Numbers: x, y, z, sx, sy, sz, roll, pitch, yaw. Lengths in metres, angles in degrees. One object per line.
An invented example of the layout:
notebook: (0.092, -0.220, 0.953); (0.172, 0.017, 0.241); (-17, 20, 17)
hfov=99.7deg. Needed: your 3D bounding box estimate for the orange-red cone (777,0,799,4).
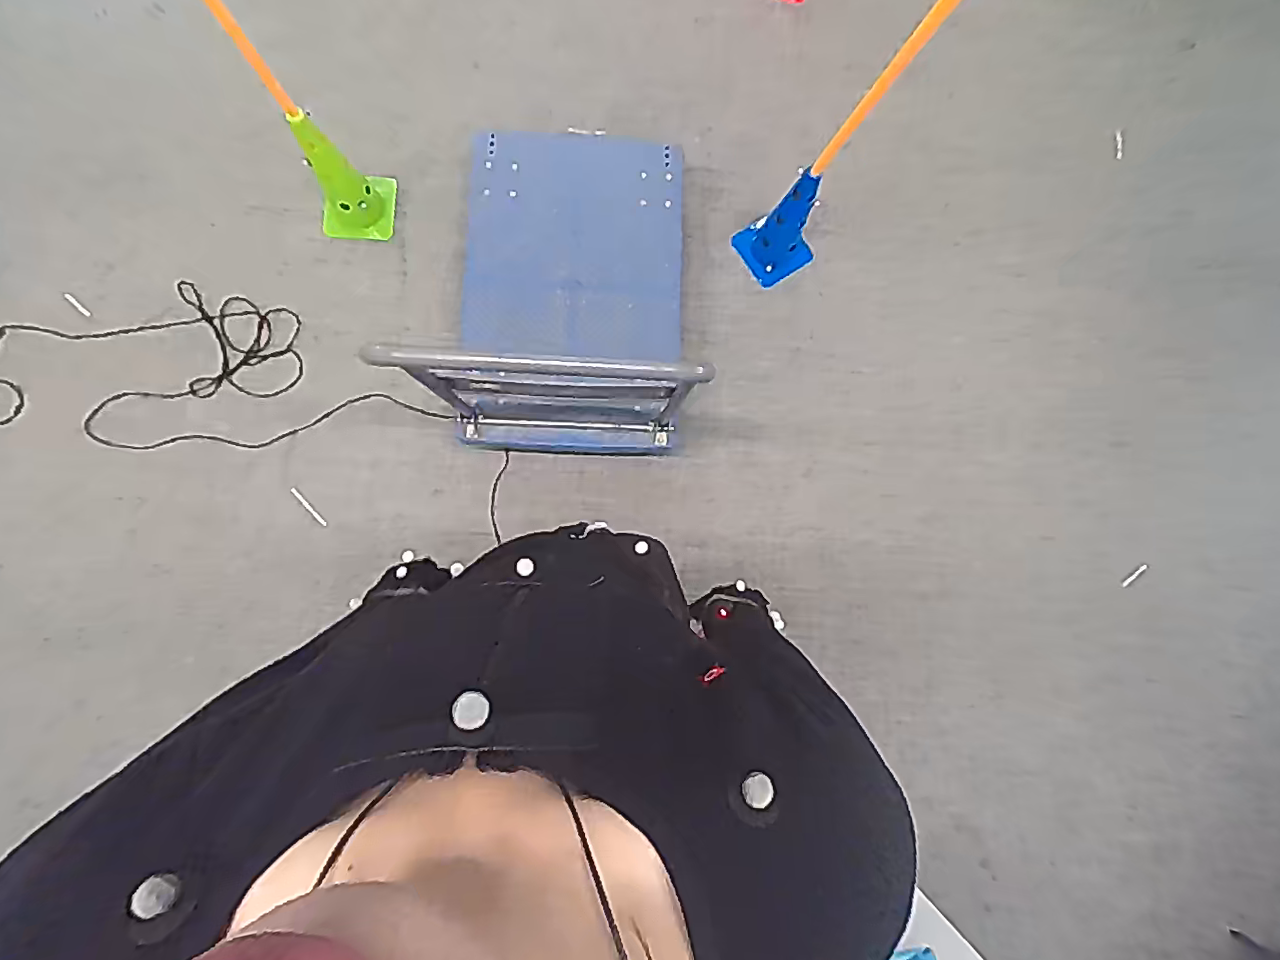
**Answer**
orange-red cone: (0.463, -1.702, 1.627); (0.198, 0.360, 0.199); (14, 83, -1)
